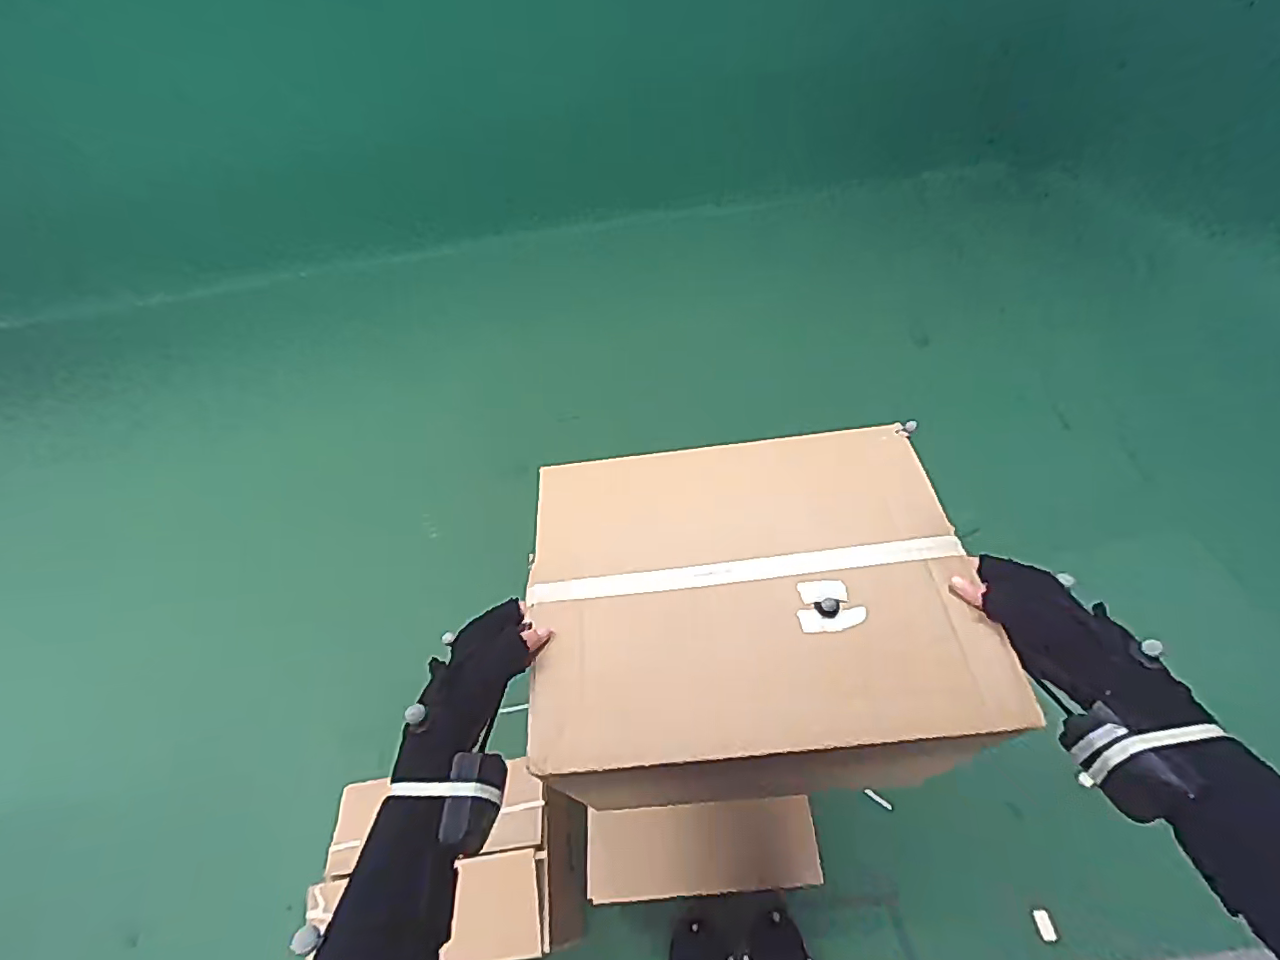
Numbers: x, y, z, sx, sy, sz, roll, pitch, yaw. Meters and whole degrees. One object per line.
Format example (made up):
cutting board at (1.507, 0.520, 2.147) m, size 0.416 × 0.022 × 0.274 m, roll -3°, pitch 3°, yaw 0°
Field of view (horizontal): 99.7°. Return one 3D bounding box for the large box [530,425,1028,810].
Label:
large box at (0.108, 0.172, 0.630) m, size 0.408 × 0.320 × 0.320 m, roll -6°, pitch 54°, yaw 2°
